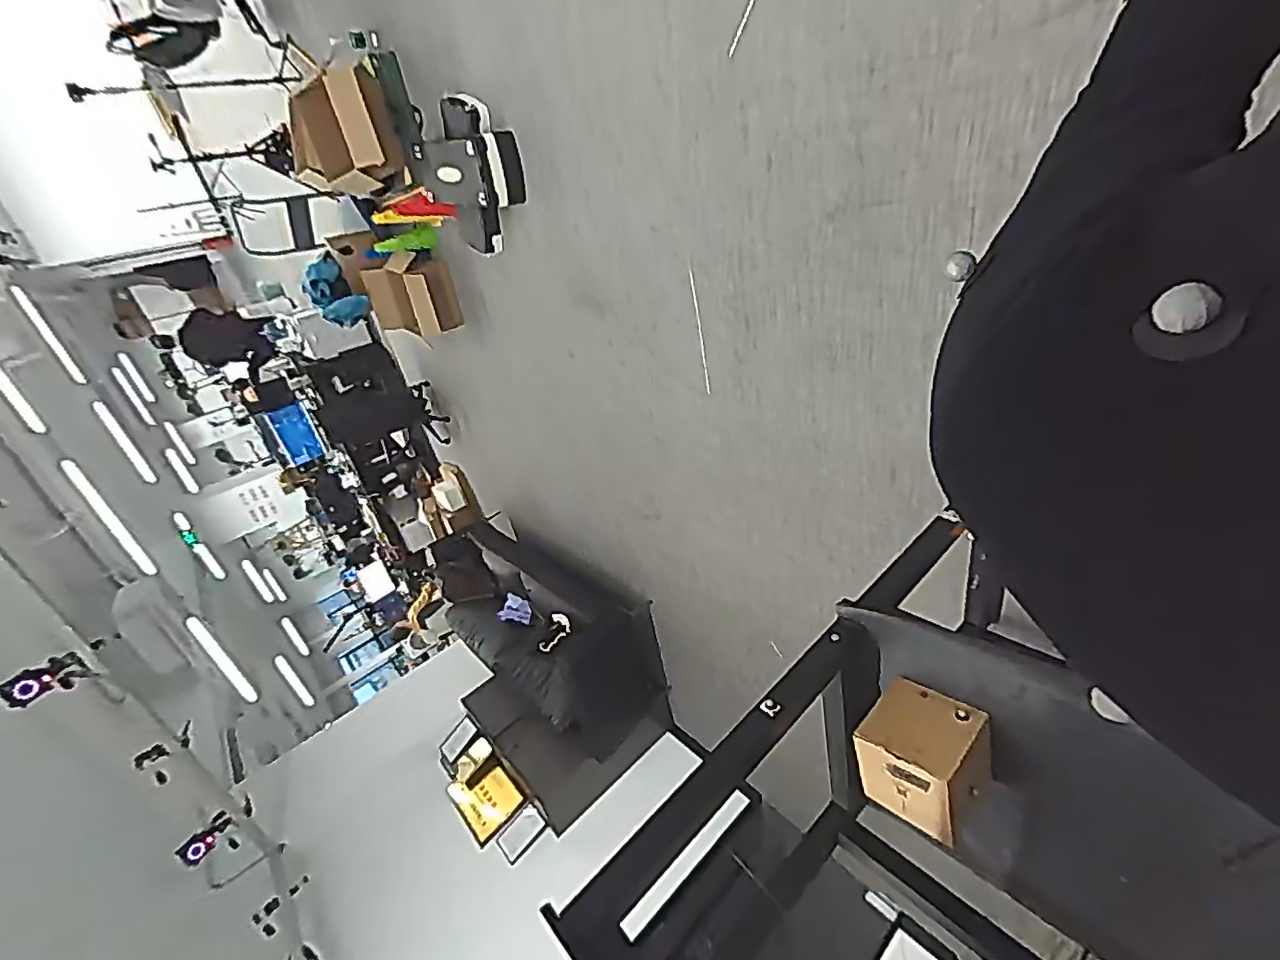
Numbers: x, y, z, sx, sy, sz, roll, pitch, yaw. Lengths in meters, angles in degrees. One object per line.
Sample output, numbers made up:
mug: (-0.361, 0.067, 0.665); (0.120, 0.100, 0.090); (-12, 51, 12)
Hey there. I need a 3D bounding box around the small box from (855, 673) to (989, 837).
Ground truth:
small box: (0.525, 0.496, 1.004); (0.168, 0.176, 0.179); (14, 128, 50)
